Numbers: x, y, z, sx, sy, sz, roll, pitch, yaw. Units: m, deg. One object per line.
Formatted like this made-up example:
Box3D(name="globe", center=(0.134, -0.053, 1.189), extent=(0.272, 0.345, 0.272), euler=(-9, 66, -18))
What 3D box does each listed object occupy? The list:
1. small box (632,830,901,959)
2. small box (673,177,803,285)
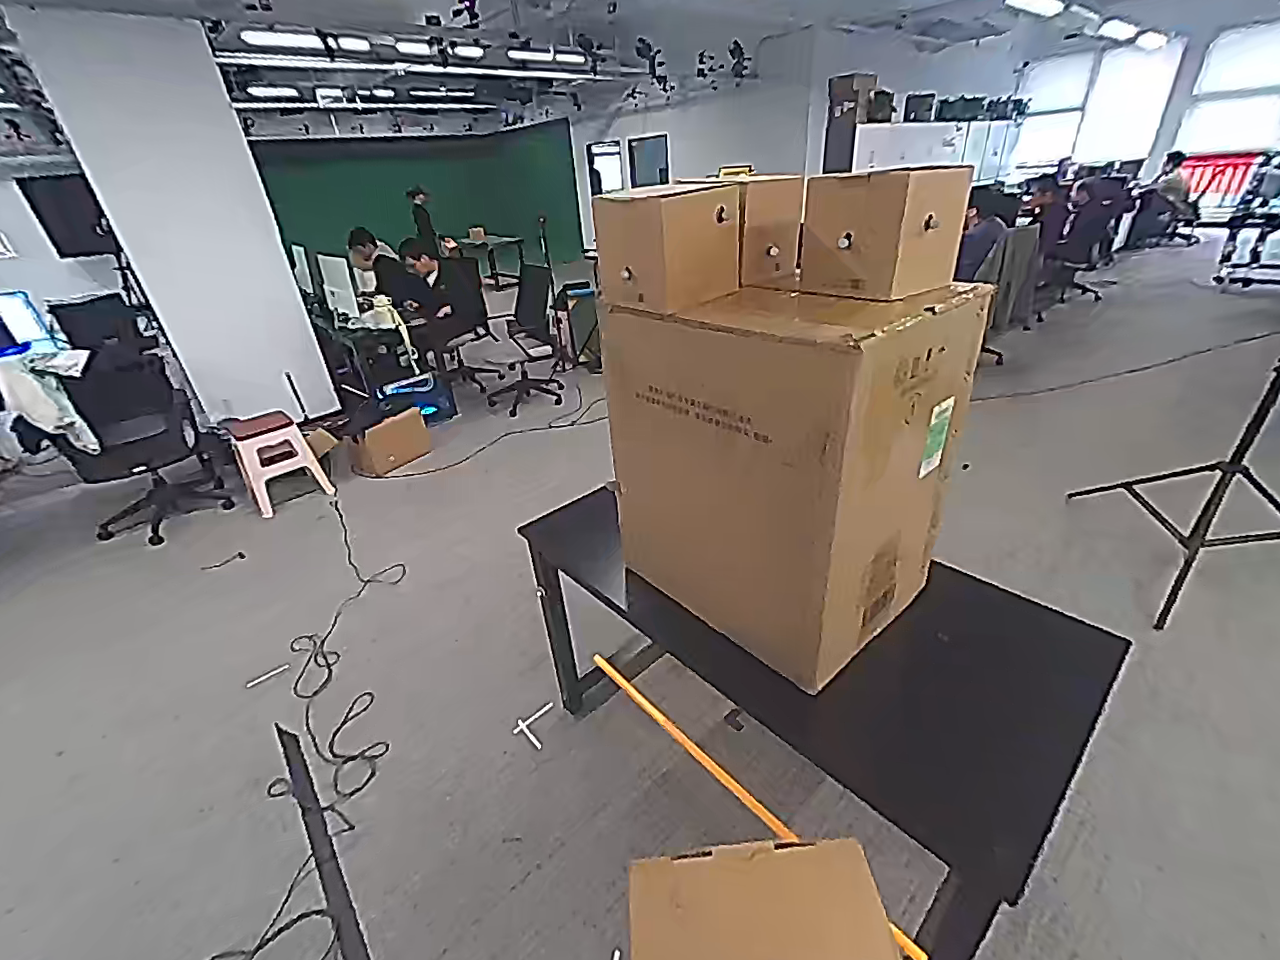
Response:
Box3D(name="small box", center=(0.081, 0.371, 0.363), extent=(0.168, 0.176, 0.179), euler=(-4, 38, -2))
Box3D(name="small box", center=(0.179, -0.468, 1.015), extent=(0.168, 0.176, 0.179), euler=(-26, 37, -33))
